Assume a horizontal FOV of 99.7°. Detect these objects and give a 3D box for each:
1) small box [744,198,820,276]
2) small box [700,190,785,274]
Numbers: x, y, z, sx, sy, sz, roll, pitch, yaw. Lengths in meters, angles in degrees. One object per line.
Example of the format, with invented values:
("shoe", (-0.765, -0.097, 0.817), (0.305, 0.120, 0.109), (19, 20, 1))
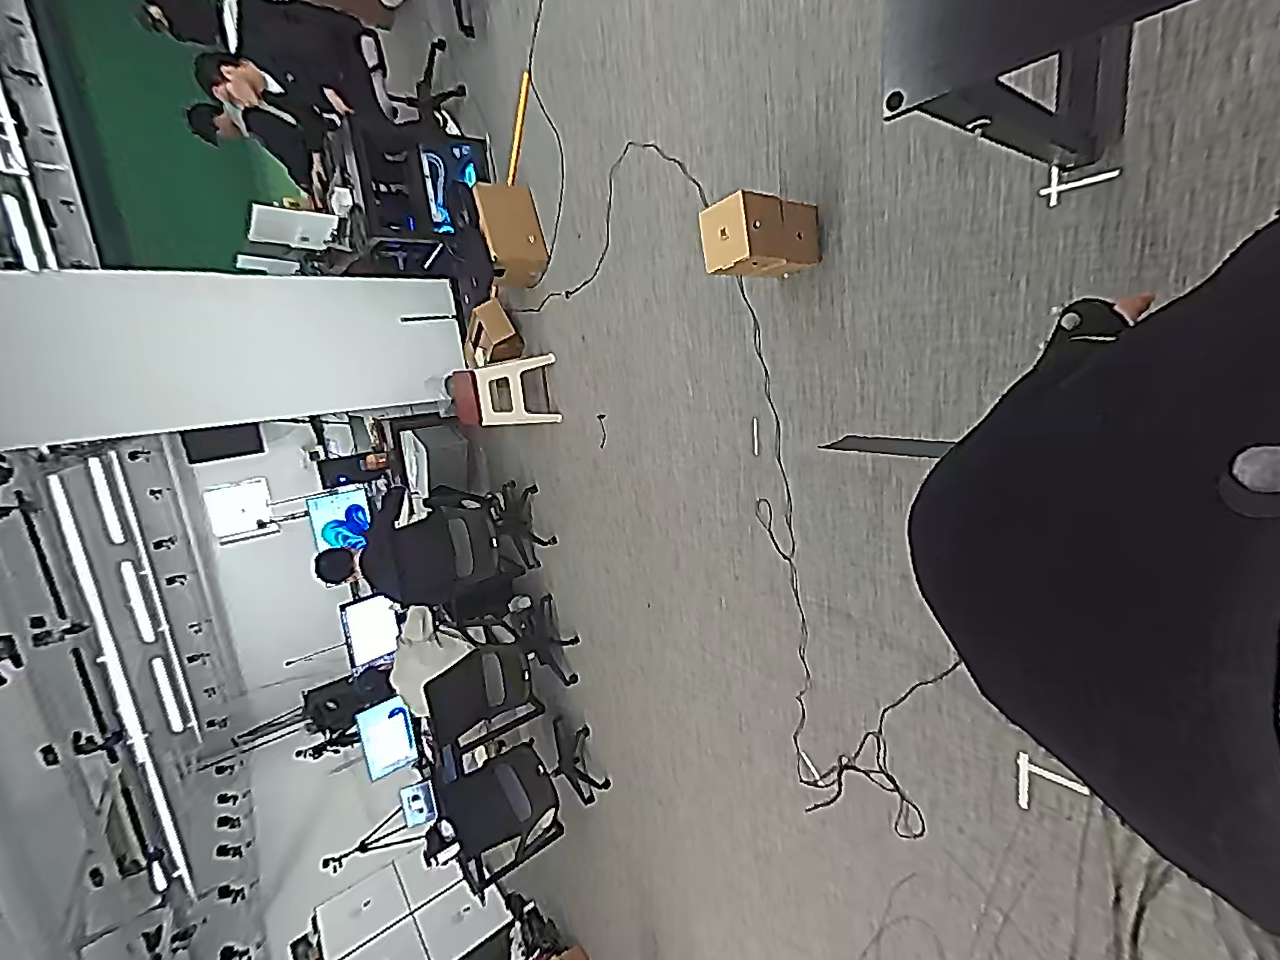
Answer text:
("small box", (0.426, -0.729, 1.642), (0.168, 0.176, 0.179), (5, 107, 52))
("small box", (0.297, -0.701, 1.546), (0.168, 0.176, 0.179), (0, 101, 52))
